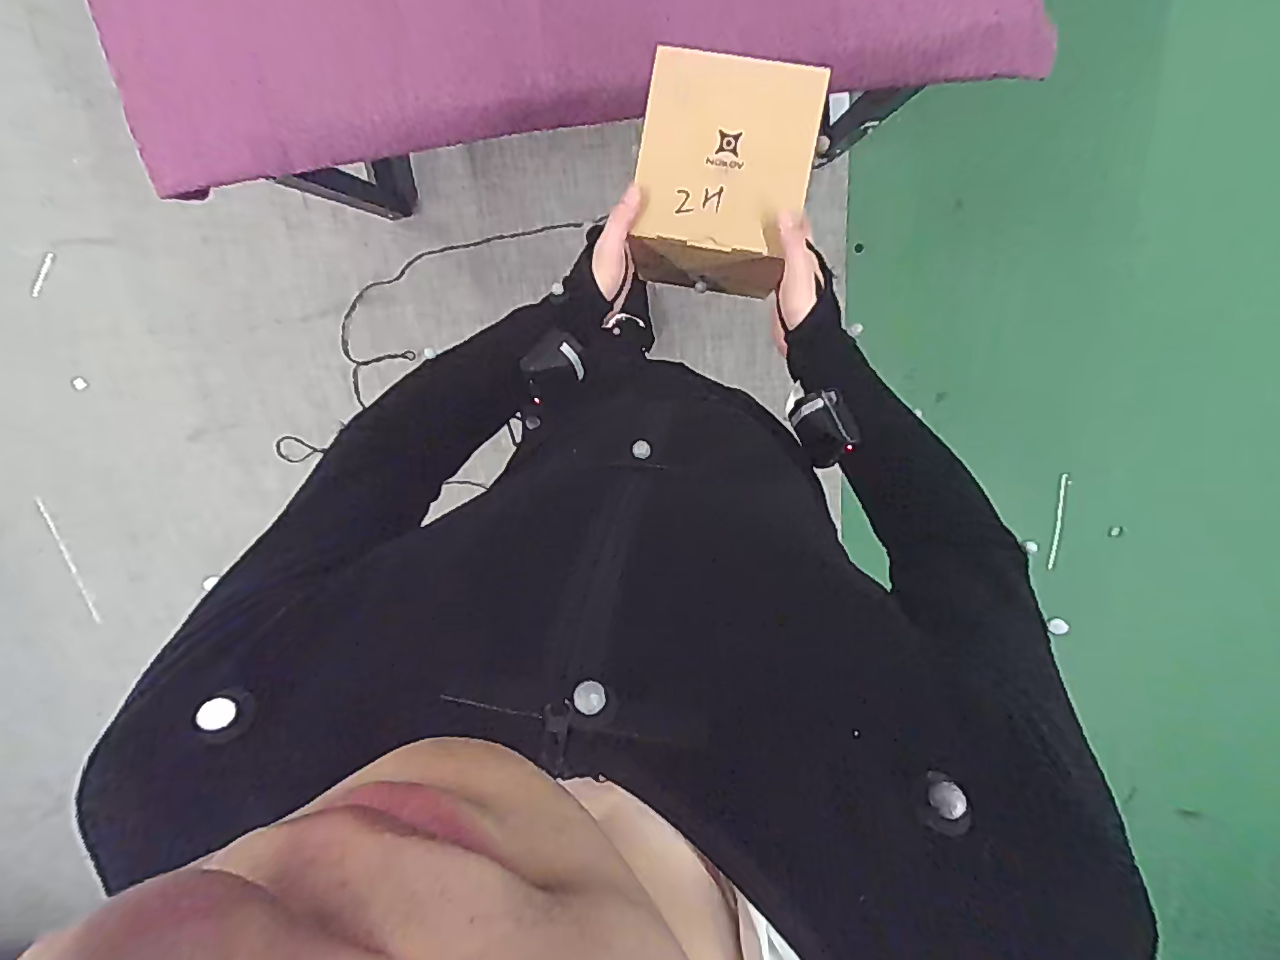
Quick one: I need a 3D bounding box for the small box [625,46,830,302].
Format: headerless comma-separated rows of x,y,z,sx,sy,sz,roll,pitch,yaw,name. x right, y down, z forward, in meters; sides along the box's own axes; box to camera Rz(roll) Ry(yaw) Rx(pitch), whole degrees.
0.087,-0.313,0.588,0.168,0.176,0.179,11,96,5,small box
